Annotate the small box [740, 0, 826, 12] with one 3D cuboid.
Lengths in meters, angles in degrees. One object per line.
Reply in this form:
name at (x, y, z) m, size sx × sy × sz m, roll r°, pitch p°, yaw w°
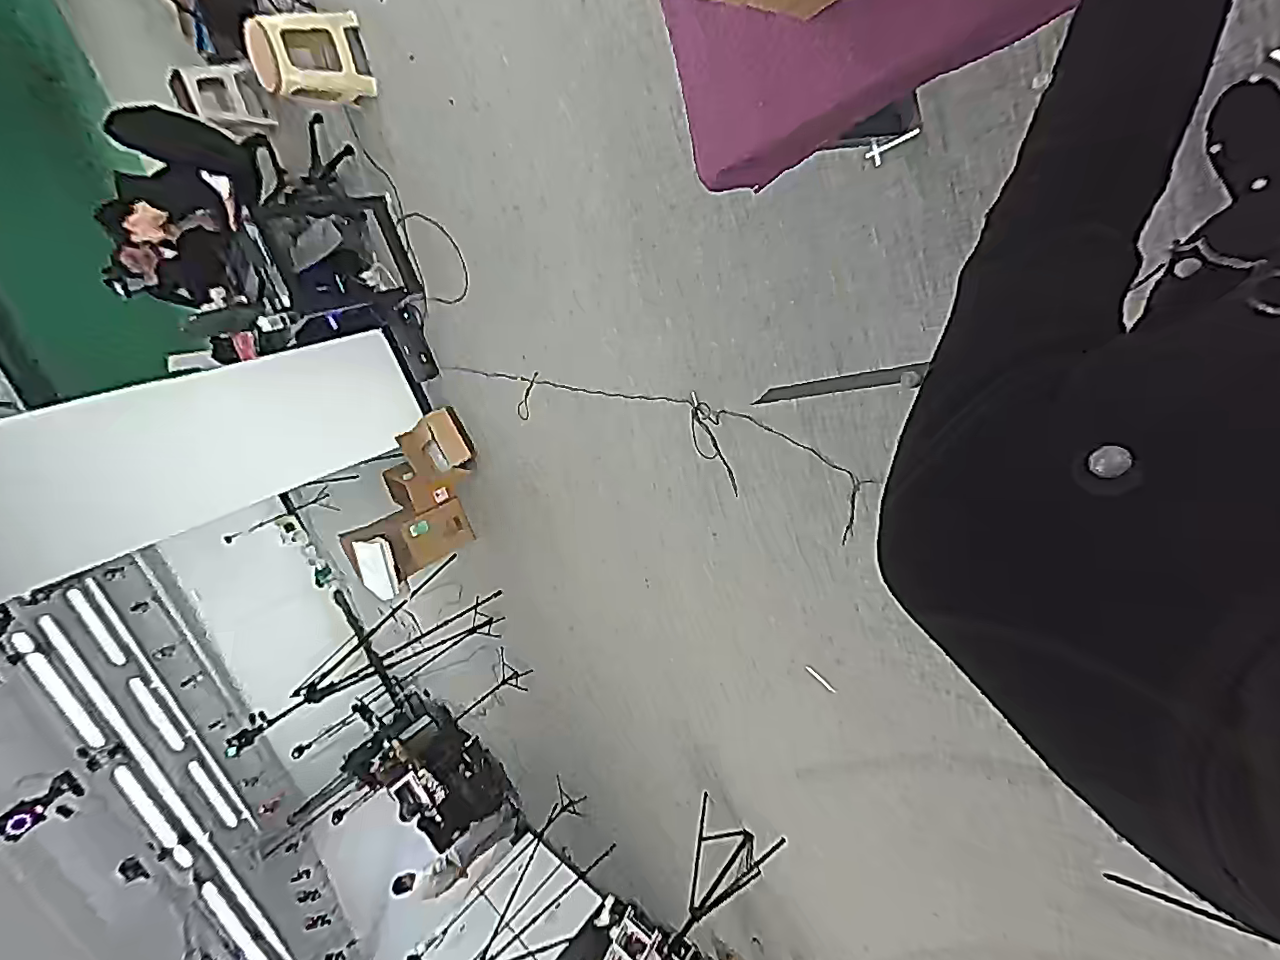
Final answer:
small box at (0.212, -0.694, 0.629) m, size 0.179 × 0.176 × 0.168 m, roll 1°, pitch 115°, yaw 48°
